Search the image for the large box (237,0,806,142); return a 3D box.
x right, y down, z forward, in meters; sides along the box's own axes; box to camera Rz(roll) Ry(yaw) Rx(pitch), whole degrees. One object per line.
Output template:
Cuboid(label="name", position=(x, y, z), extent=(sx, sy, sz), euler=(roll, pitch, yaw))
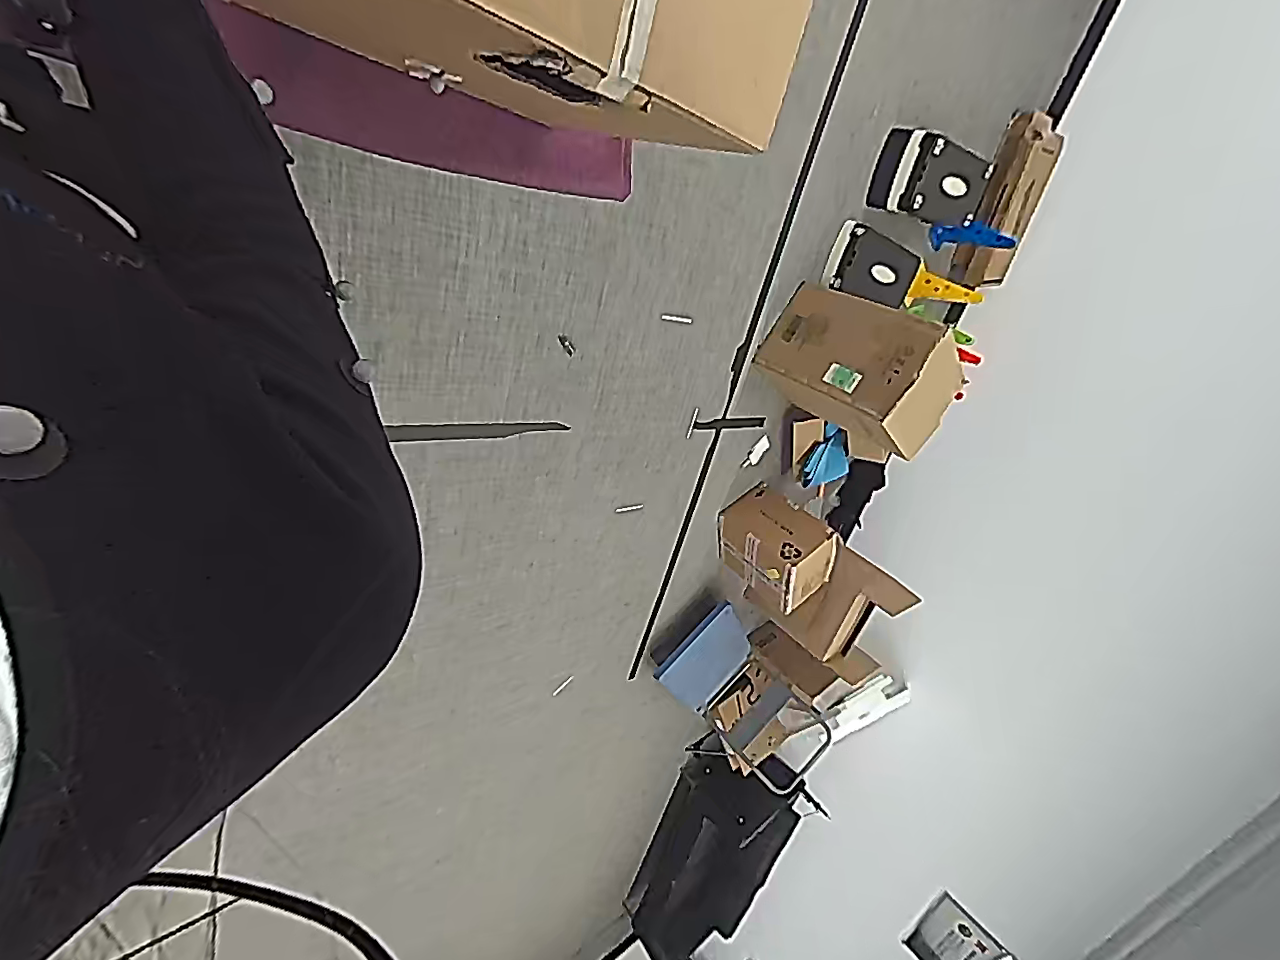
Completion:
Cuboid(label="large box", position=(-0.064, -0.485, 0.335), extent=(0.320, 0.320, 0.408), euler=(-9, 124, -43))
